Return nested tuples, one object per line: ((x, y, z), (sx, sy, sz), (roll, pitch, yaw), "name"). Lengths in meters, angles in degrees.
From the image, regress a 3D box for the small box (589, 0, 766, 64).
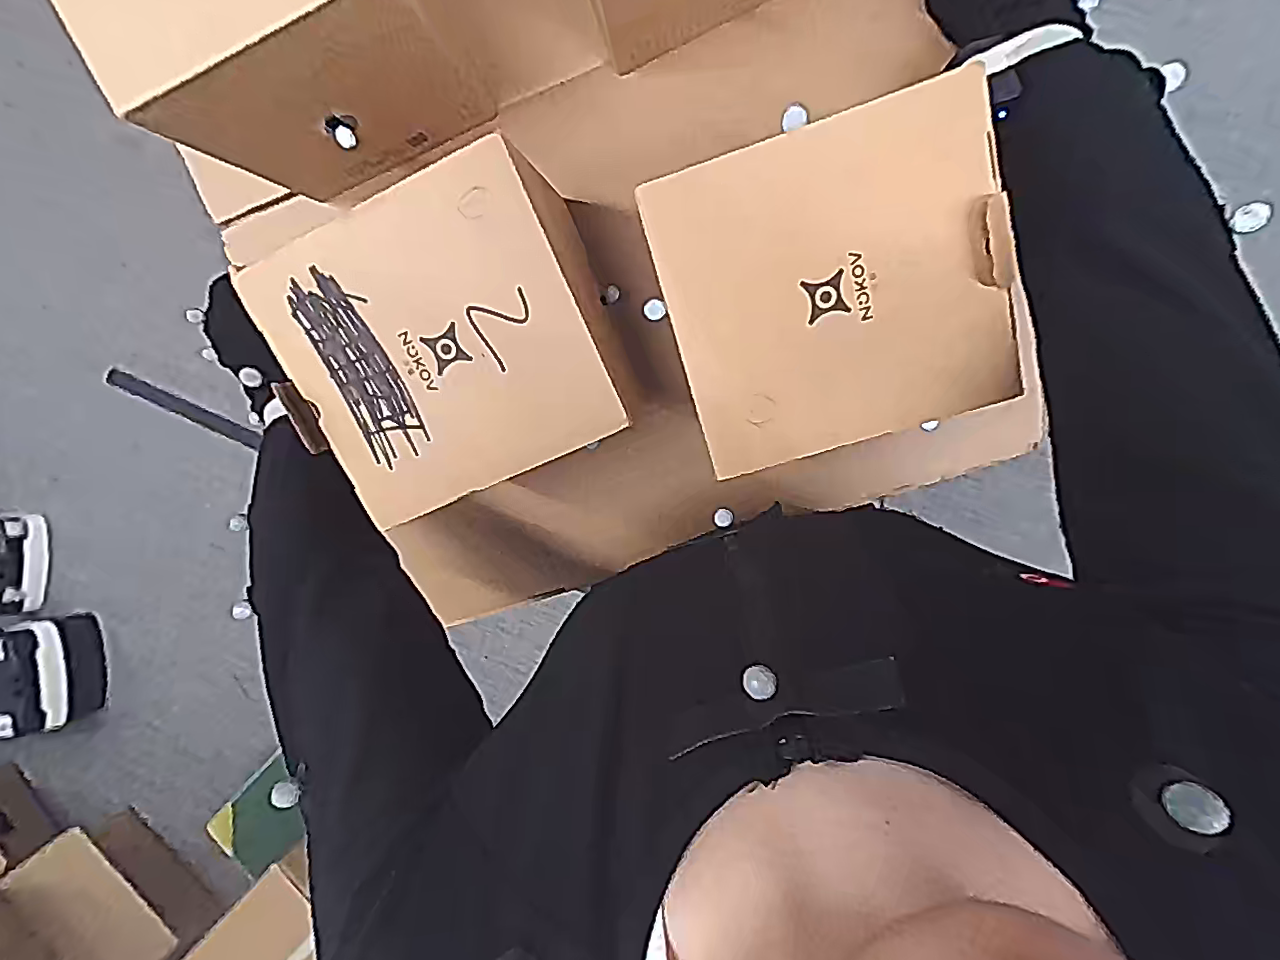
((0.028, -0.388, 0.299), (0.179, 0.176, 0.168), (-20, 101, 10), "small box")

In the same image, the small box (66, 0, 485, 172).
((-0.221, -0.321, 0.335), (0.168, 0.176, 0.179), (-19, 101, 8), "small box")
